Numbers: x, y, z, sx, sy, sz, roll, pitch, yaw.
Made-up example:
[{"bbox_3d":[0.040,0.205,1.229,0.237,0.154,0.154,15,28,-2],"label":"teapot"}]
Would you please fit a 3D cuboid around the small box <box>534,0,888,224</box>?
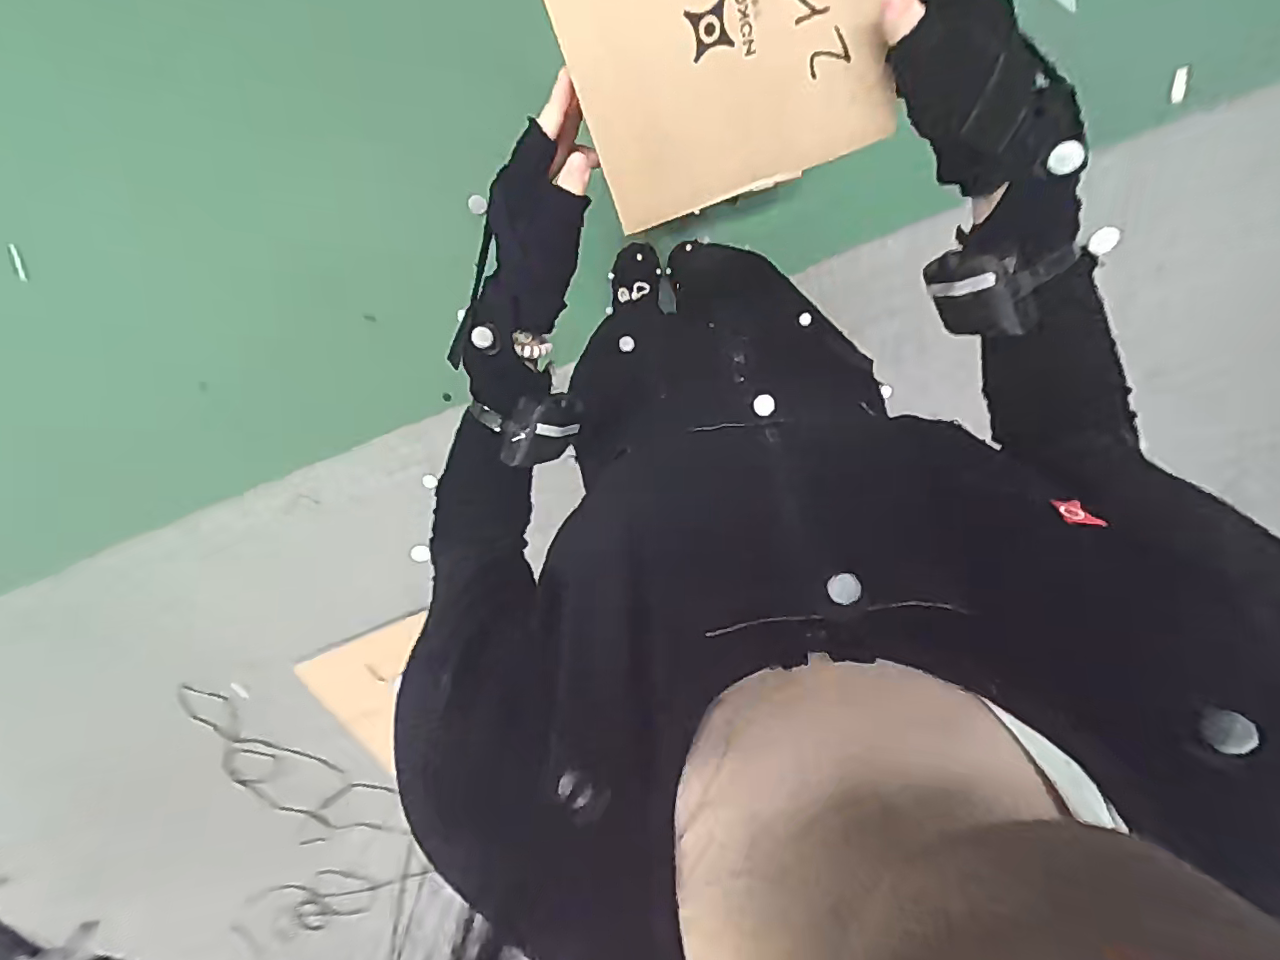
[{"bbox_3d":[0.037,-0.296,0.350,0.179,0.176,0.168,-17,129,10],"label":"small box"}]
